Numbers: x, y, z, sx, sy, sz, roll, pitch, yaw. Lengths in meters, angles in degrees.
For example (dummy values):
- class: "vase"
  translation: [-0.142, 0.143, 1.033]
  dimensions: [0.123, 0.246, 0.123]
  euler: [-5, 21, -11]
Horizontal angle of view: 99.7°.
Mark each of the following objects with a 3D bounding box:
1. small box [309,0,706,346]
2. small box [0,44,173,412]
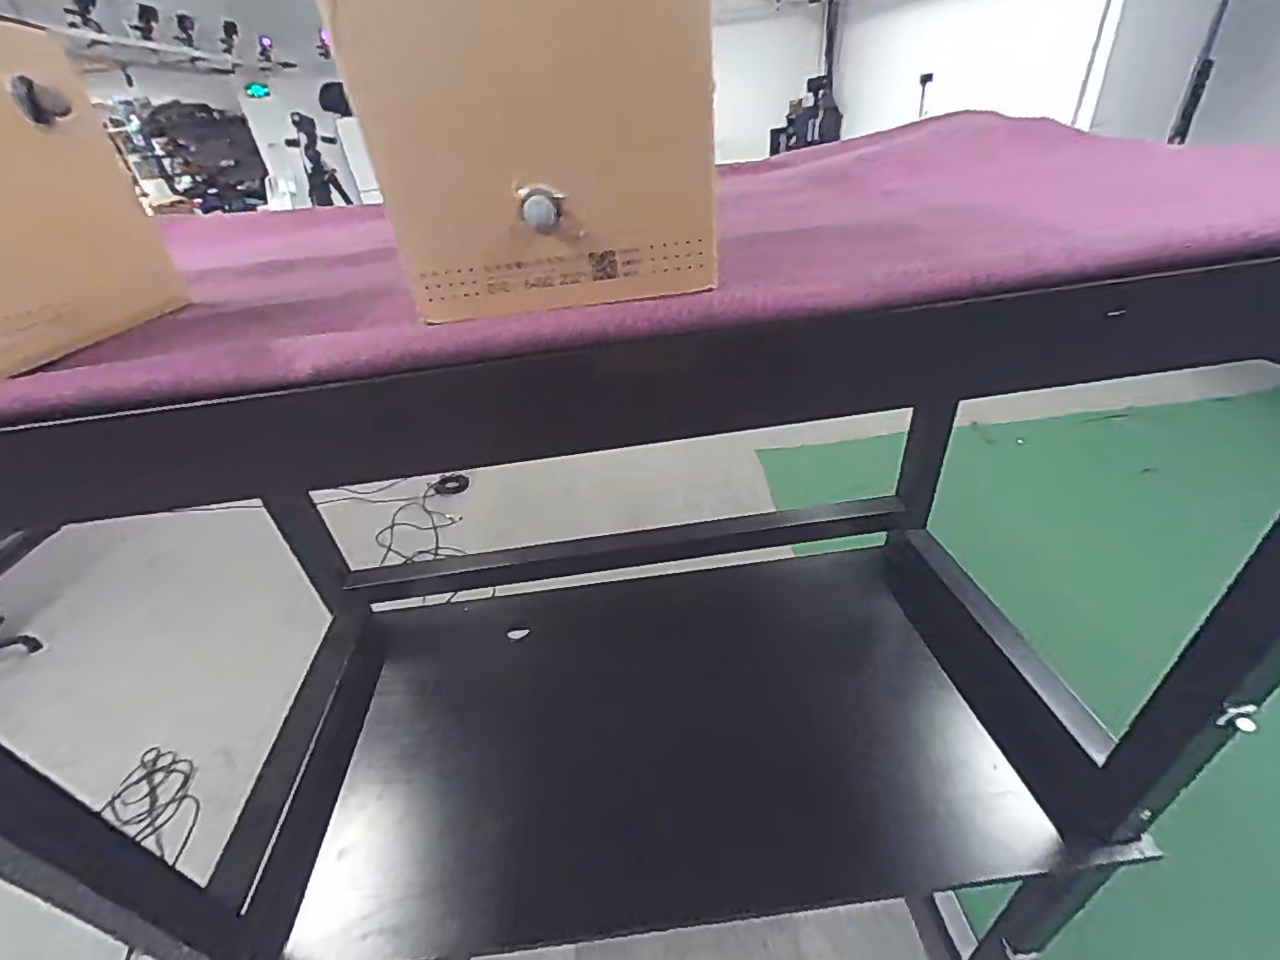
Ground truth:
- class: "small box"
  translation: [-0.055, -0.194, 0.324]
  dimensions: [0.168, 0.176, 0.179]
  euler: [-7, 36, 0]
- class: "small box"
  translation: [-0.423, -0.137, 0.303]
  dimensions: [0.168, 0.176, 0.179]
  euler: [-7, 34, -1]
